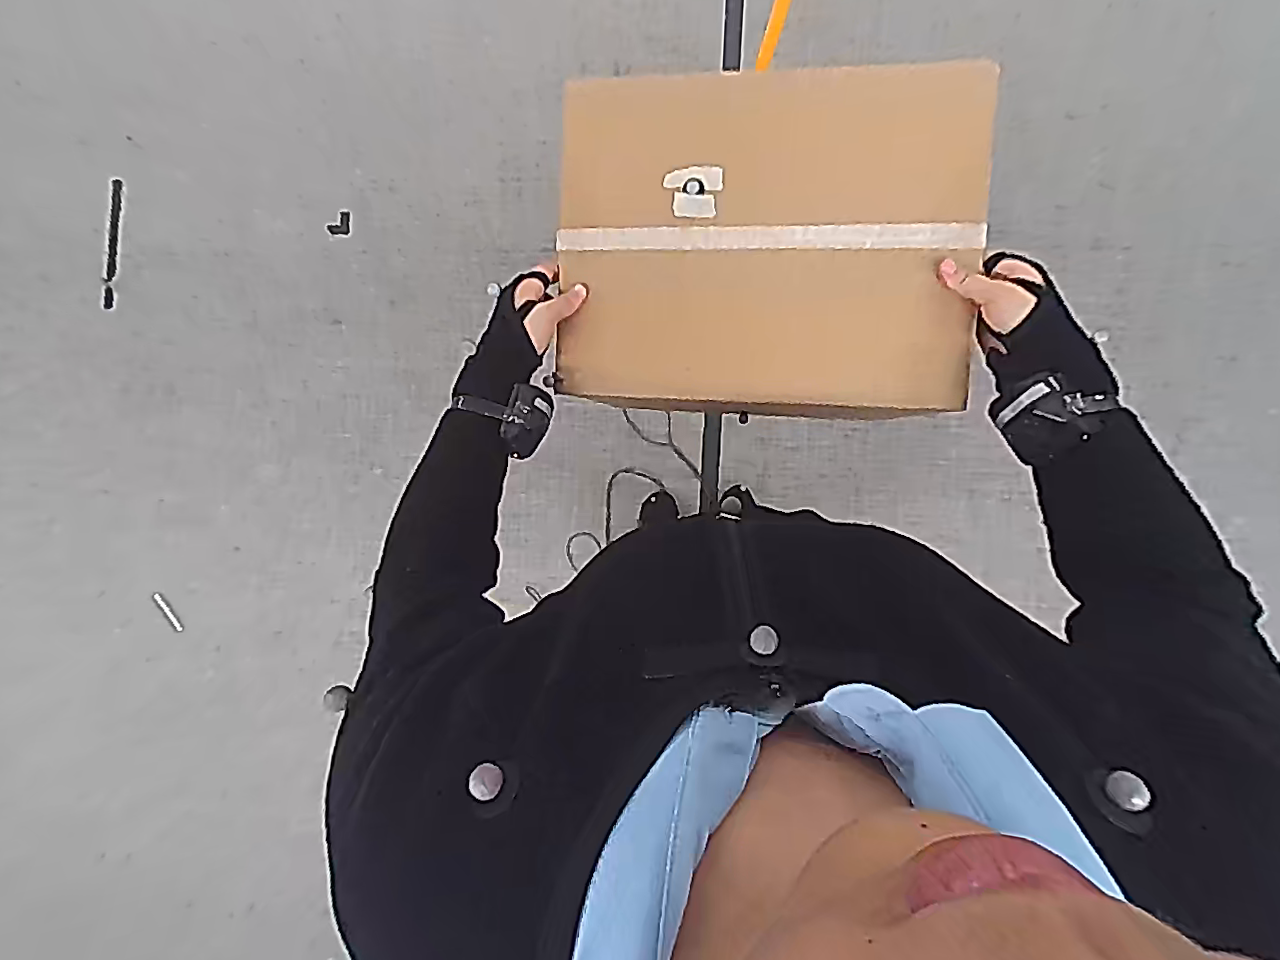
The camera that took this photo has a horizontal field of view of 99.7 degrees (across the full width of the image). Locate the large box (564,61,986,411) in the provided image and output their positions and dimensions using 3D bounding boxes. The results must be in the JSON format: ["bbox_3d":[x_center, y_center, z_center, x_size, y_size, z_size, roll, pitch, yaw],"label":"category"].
[{"bbox_3d":[0.145,-0.249,0.683,0.408,0.320,0.320,3,94,10],"label":"large box"}]
